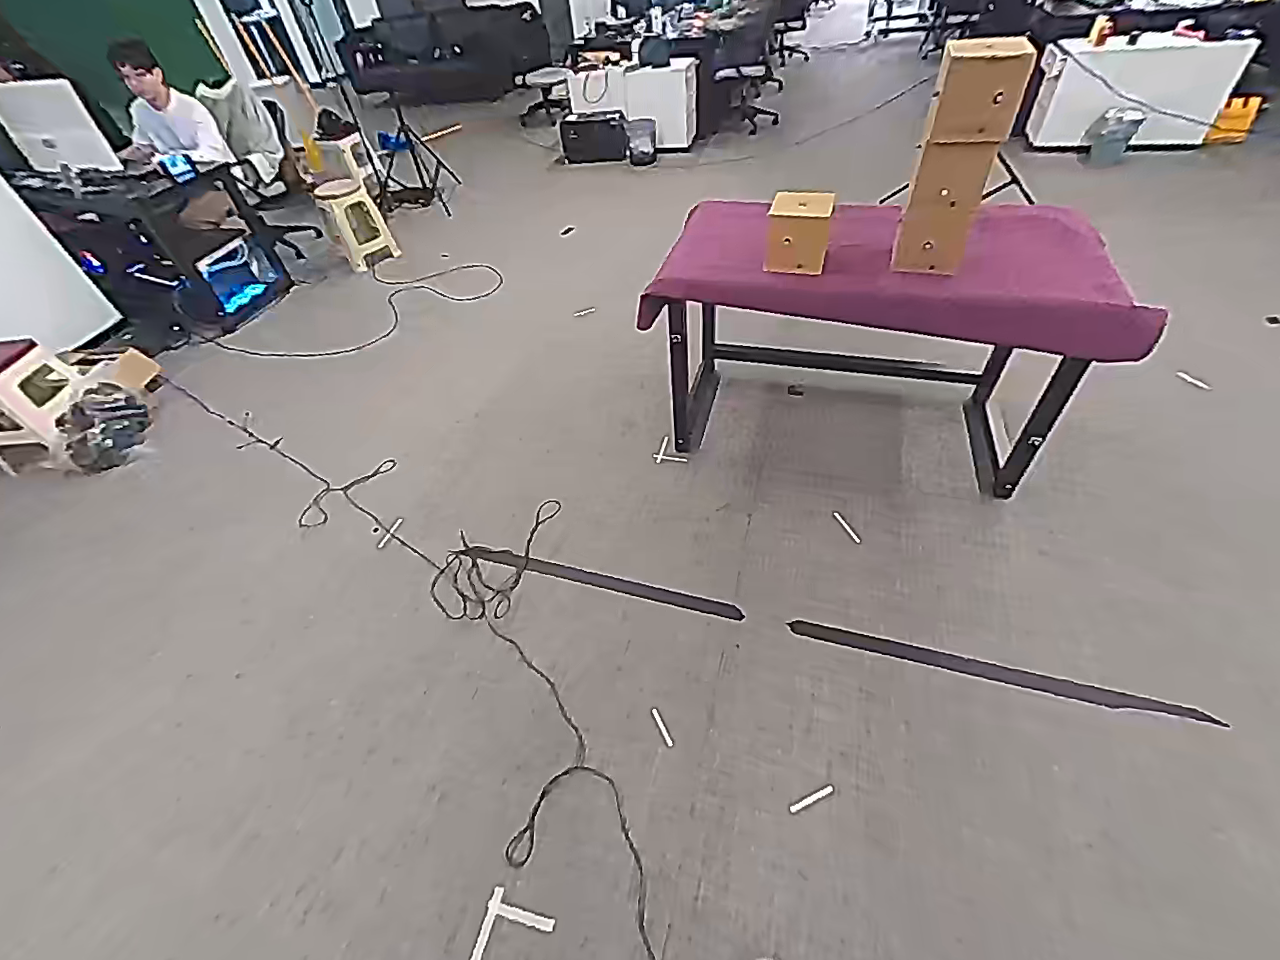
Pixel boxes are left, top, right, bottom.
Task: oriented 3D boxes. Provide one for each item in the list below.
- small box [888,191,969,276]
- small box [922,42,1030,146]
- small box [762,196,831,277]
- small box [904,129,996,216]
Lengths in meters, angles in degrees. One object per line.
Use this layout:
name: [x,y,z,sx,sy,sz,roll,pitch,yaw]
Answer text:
small box: [0.804,-0.690,1.516,0.168,0.176,0.179,12,49,17]
small box: [0.776,-0.900,1.267,0.168,0.176,0.179,9,48,14]
small box: [0.455,-0.710,1.577,0.168,0.176,0.179,10,47,15]
small box: [0.794,-0.805,1.399,0.168,0.176,0.179,11,49,17]
